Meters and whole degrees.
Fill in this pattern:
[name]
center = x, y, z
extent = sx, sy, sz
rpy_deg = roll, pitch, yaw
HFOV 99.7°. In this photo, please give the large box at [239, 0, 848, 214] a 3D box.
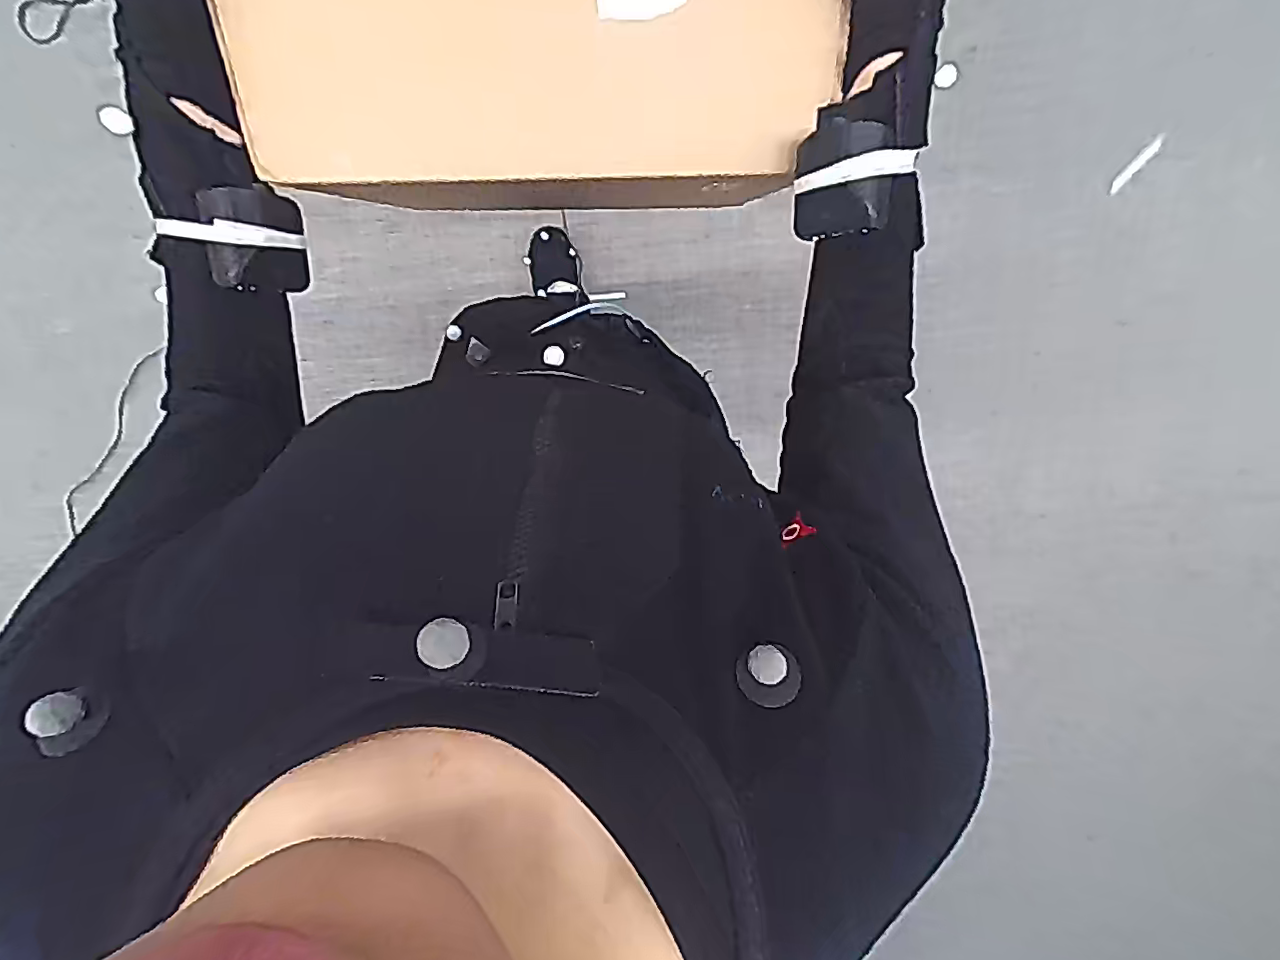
[large box]
center = -0.068, -0.419, 0.469
extent = 0.408, 0.320, 0.320
rpy_deg = -2, 114, -2
